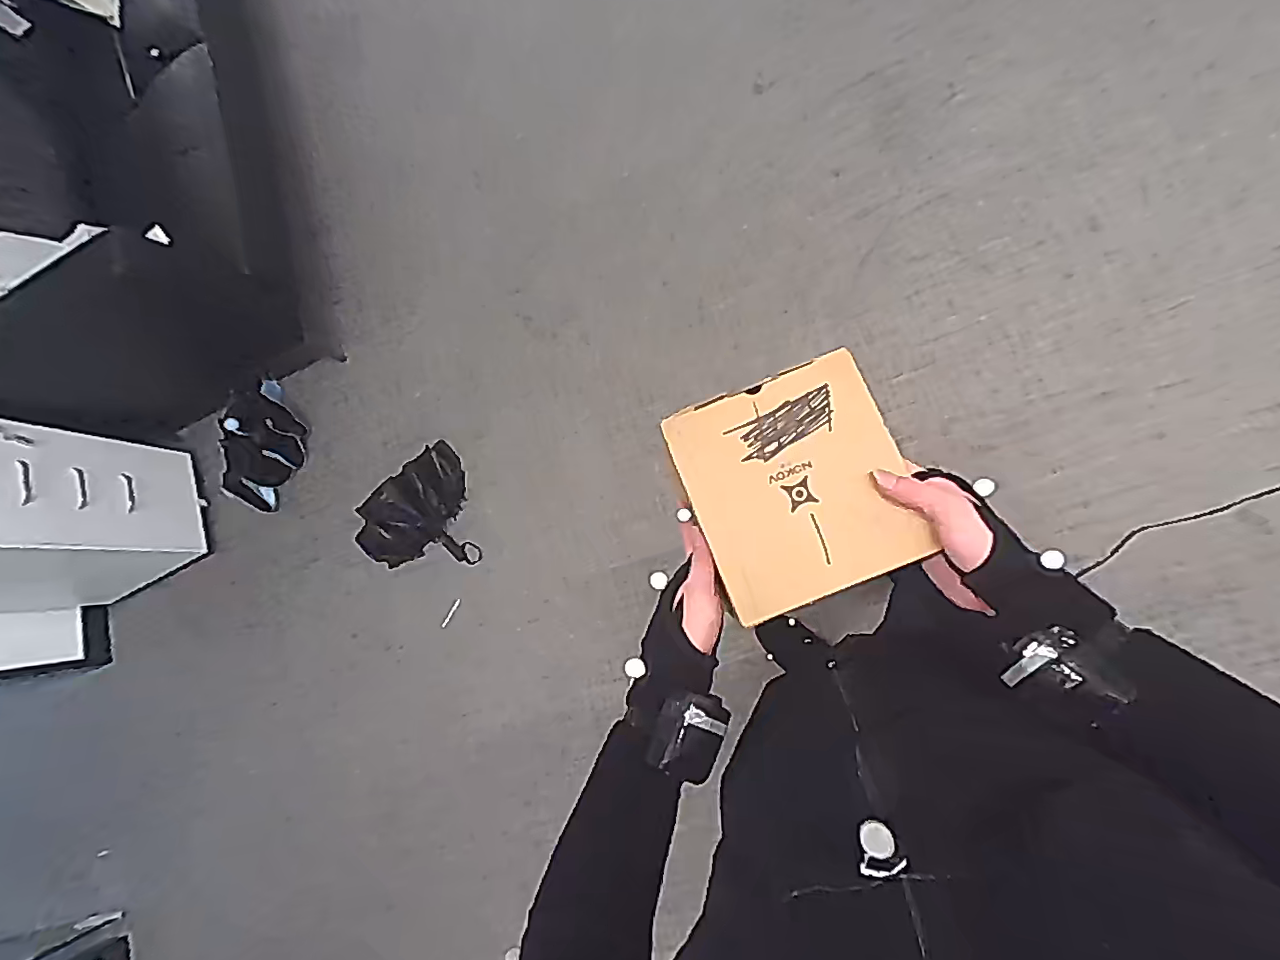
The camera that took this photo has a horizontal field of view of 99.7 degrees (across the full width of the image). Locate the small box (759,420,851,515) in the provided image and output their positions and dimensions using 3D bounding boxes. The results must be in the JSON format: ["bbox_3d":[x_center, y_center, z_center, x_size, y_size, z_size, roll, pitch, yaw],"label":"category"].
[{"bbox_3d":[0.404,-0.023,1.336,0.168,0.176,0.179,-22,77,14],"label":"small box"}]
